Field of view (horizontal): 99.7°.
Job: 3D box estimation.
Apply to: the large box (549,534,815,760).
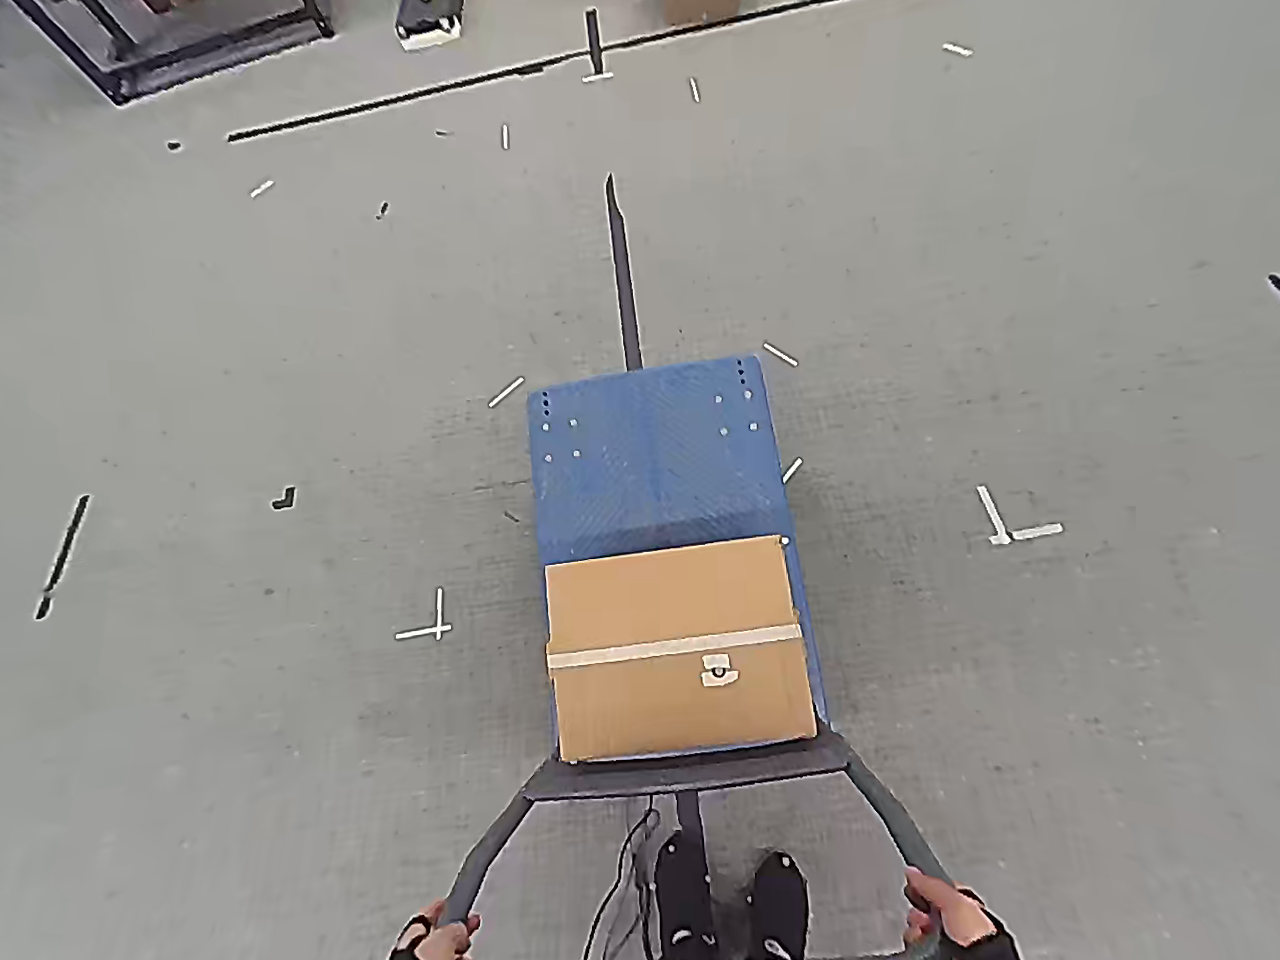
[{"bbox_3d":[0.070,0.303,1.032,0.408,0.320,0.320,-9,78,3],"label":"large box"}]
